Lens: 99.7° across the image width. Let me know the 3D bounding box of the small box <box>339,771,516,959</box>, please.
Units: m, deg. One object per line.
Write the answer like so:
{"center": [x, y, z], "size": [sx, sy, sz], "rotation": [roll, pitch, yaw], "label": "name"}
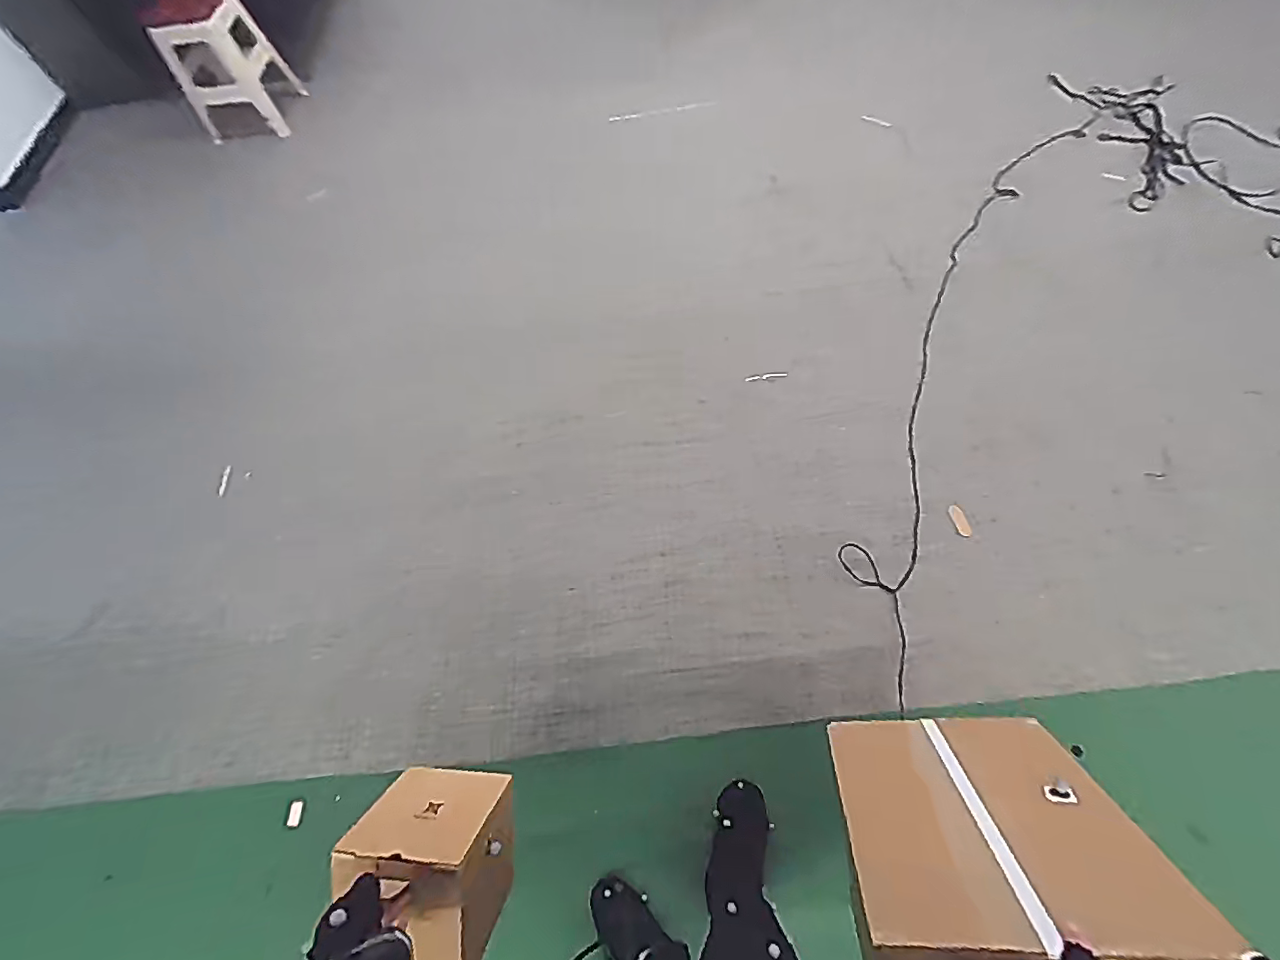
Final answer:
{"center": [-0.276, 0.529, 0.730], "size": [0.168, 0.179, 0.176], "rotation": [0, 94, 8], "label": "small box"}
